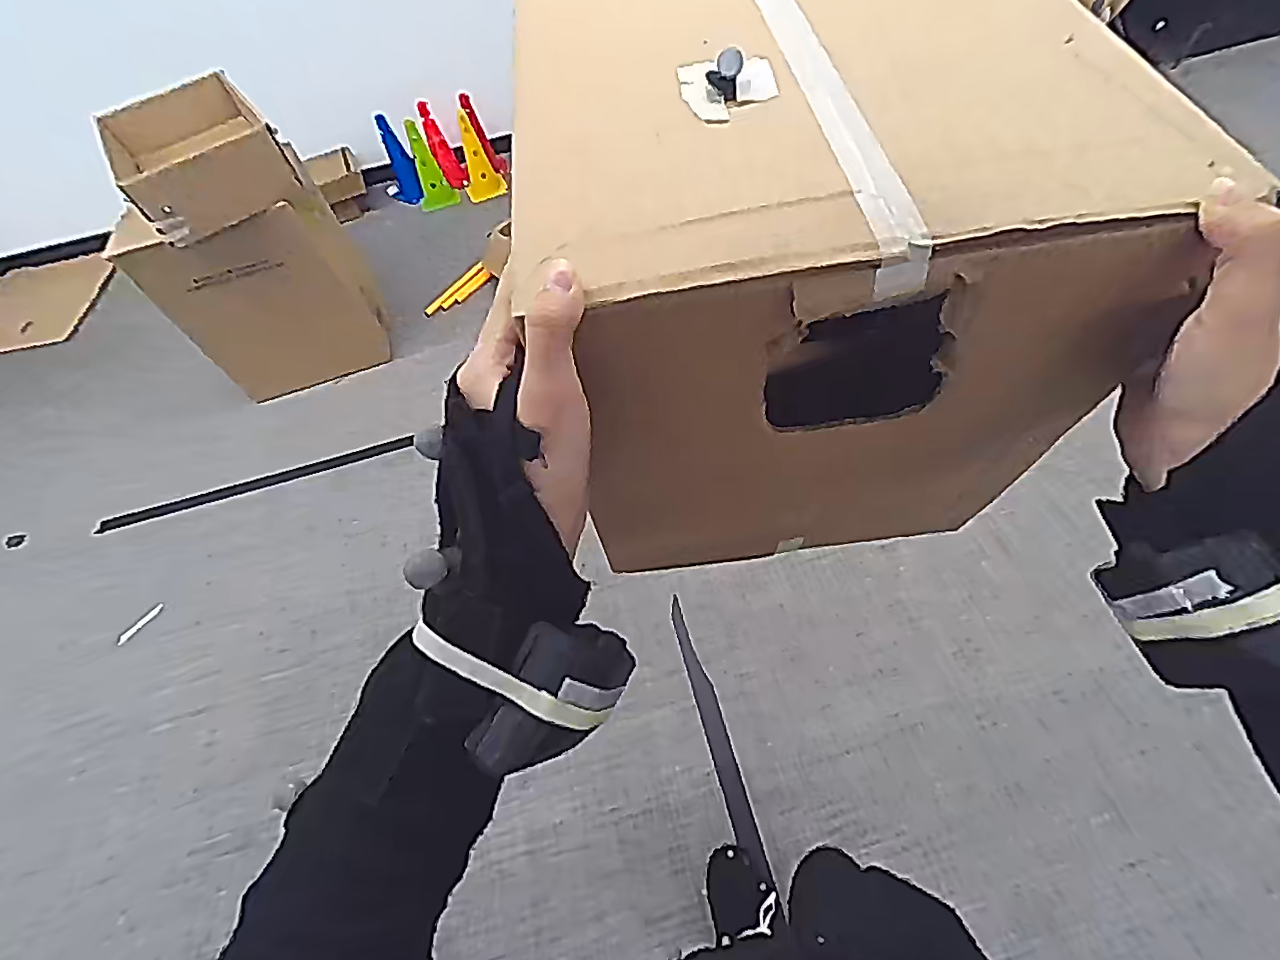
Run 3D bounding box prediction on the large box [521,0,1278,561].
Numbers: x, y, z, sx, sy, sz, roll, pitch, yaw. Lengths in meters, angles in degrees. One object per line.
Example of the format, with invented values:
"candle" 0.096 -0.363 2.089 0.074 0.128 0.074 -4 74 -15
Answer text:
"large box" 0.097 -0.188 0.446 0.320 0.320 0.408 -9 61 2
